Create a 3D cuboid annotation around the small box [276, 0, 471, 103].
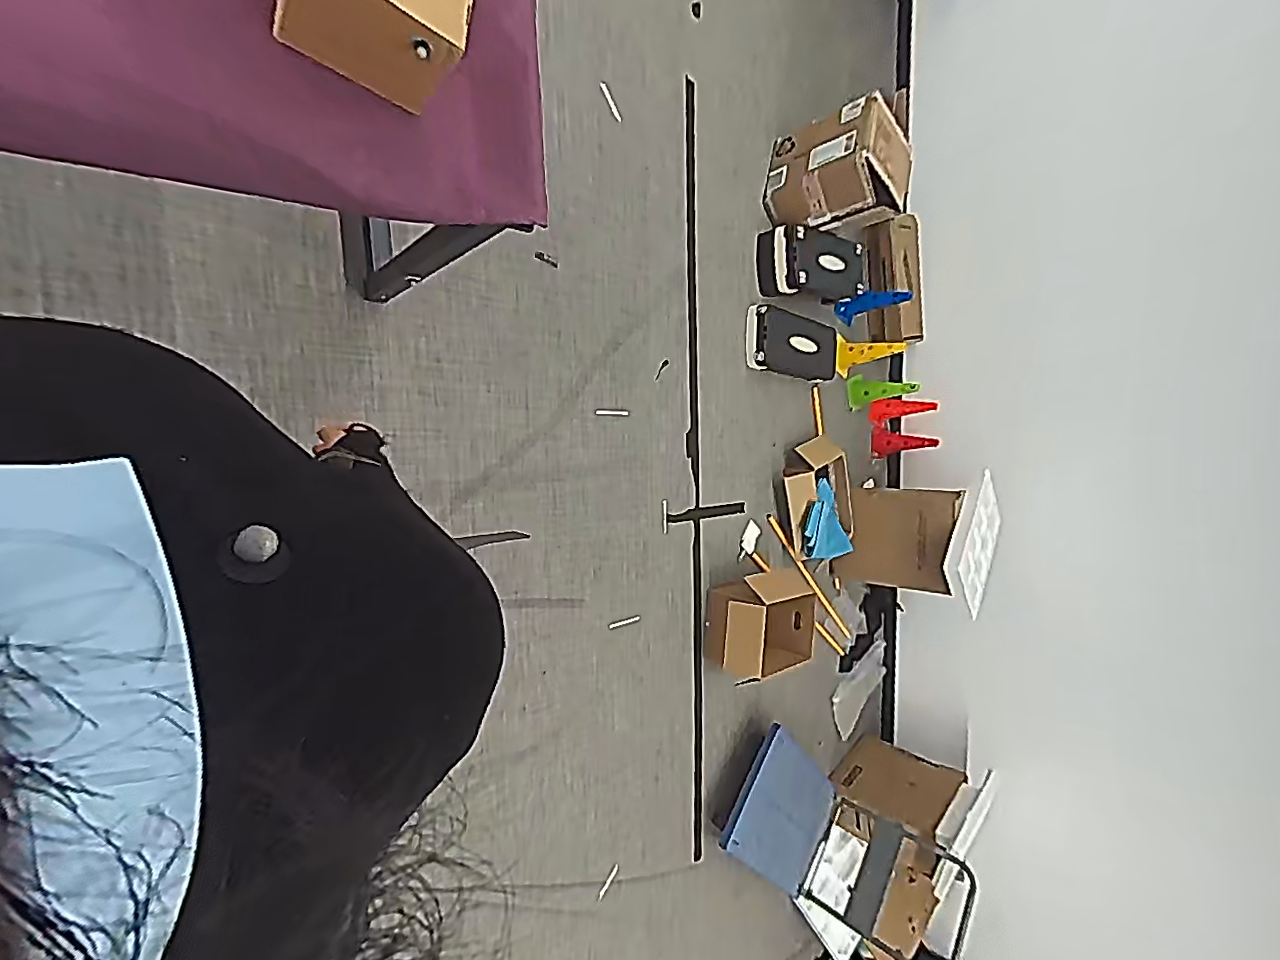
[{"bbox_3d":[-0.316,-0.603,0.647,0.179,0.176,0.168,7,88,-42],"label":"small box"}]
